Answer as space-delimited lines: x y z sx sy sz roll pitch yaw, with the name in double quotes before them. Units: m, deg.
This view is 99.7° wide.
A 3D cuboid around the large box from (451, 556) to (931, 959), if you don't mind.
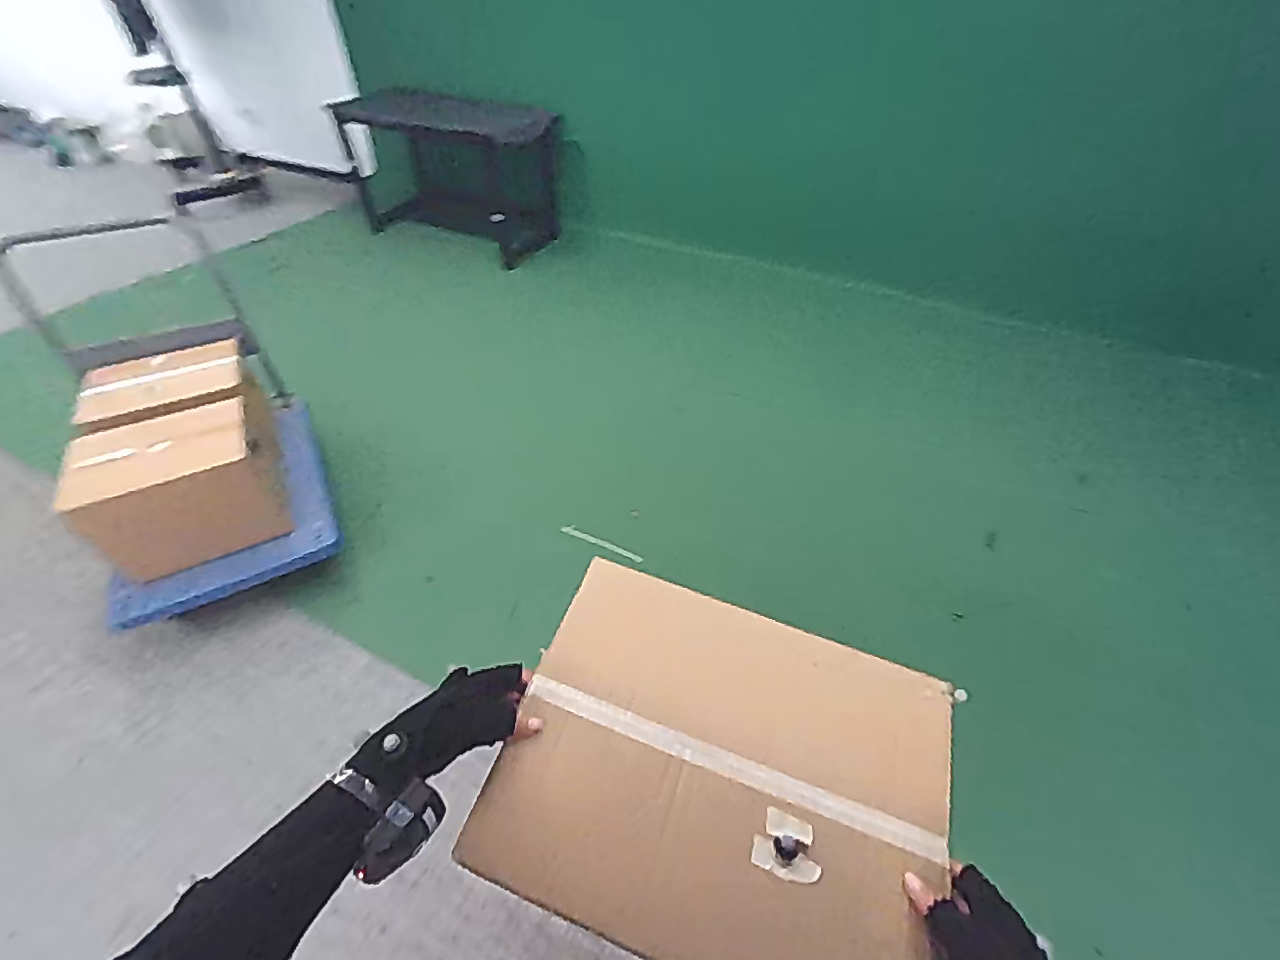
"large box" 0.062 0.346 0.633 0.408 0.320 0.320 18 54 9
